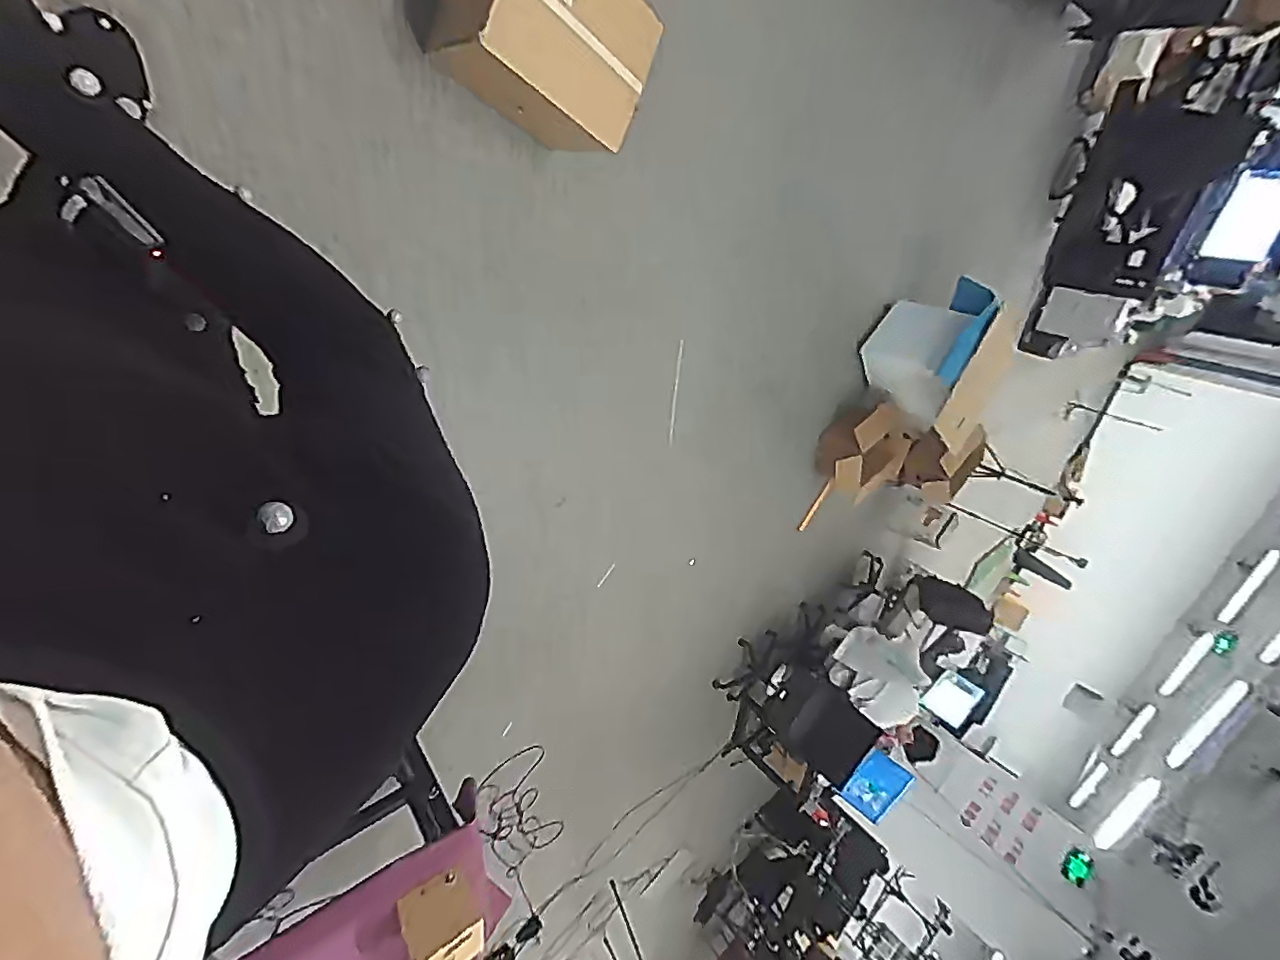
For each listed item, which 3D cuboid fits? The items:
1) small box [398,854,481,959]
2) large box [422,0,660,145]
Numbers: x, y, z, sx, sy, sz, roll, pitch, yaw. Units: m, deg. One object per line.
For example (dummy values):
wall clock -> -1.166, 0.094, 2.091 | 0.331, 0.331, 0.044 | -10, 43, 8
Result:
small box -> -0.545, 1.167, 1.468 | 0.168, 0.176, 0.179 | -16, 128, -37
large box -> -0.235, -1.071, 1.296 | 0.408, 0.320, 0.320 | 10, 108, -47
